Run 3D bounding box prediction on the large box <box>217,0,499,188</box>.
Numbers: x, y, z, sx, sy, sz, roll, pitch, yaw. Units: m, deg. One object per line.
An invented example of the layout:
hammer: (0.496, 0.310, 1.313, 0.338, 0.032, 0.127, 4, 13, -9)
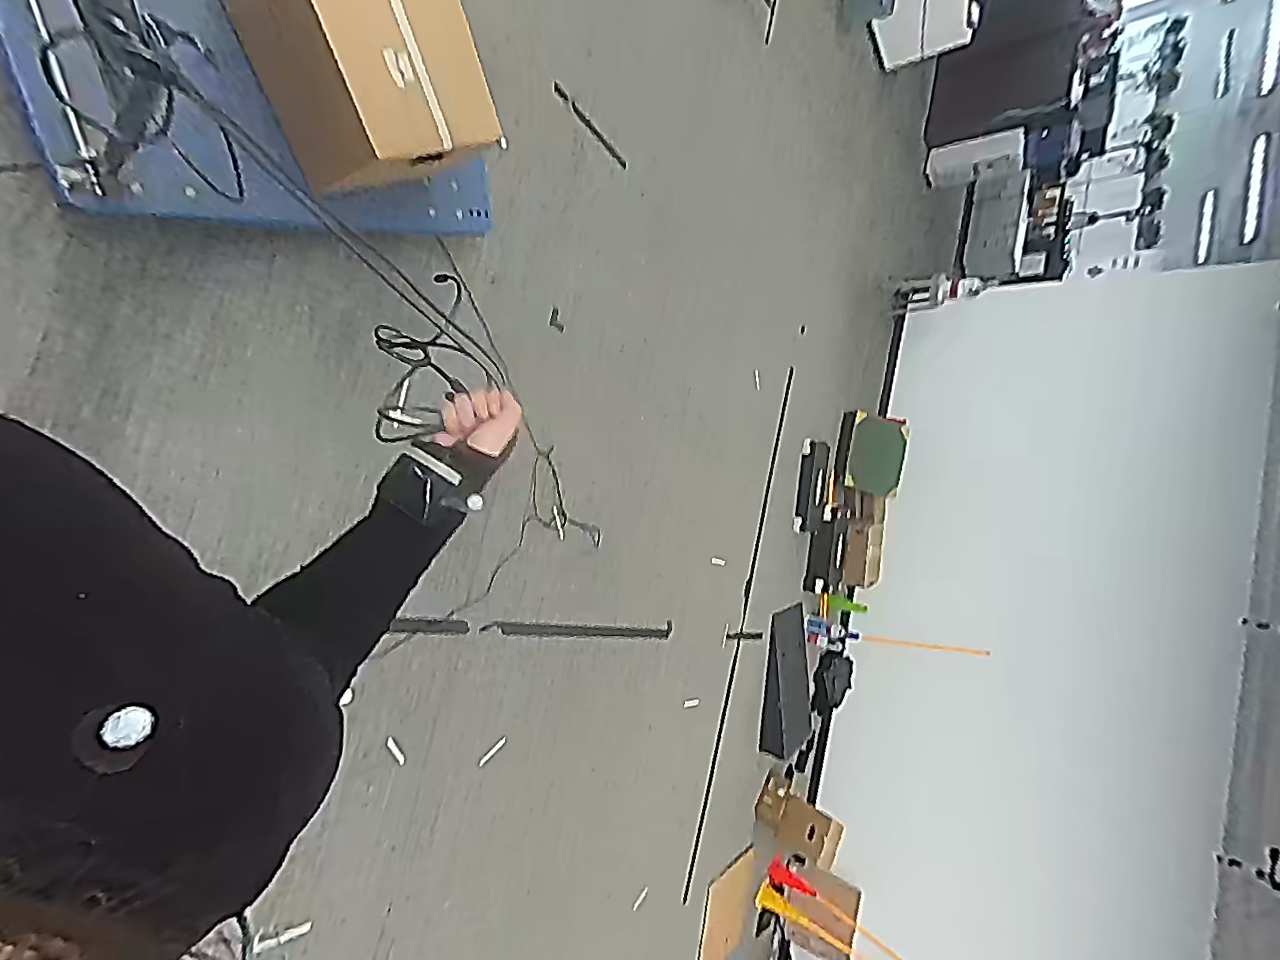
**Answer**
large box: (-0.558, -0.854, 1.073, 0.320, 0.320, 0.408, -41, 127, -38)
